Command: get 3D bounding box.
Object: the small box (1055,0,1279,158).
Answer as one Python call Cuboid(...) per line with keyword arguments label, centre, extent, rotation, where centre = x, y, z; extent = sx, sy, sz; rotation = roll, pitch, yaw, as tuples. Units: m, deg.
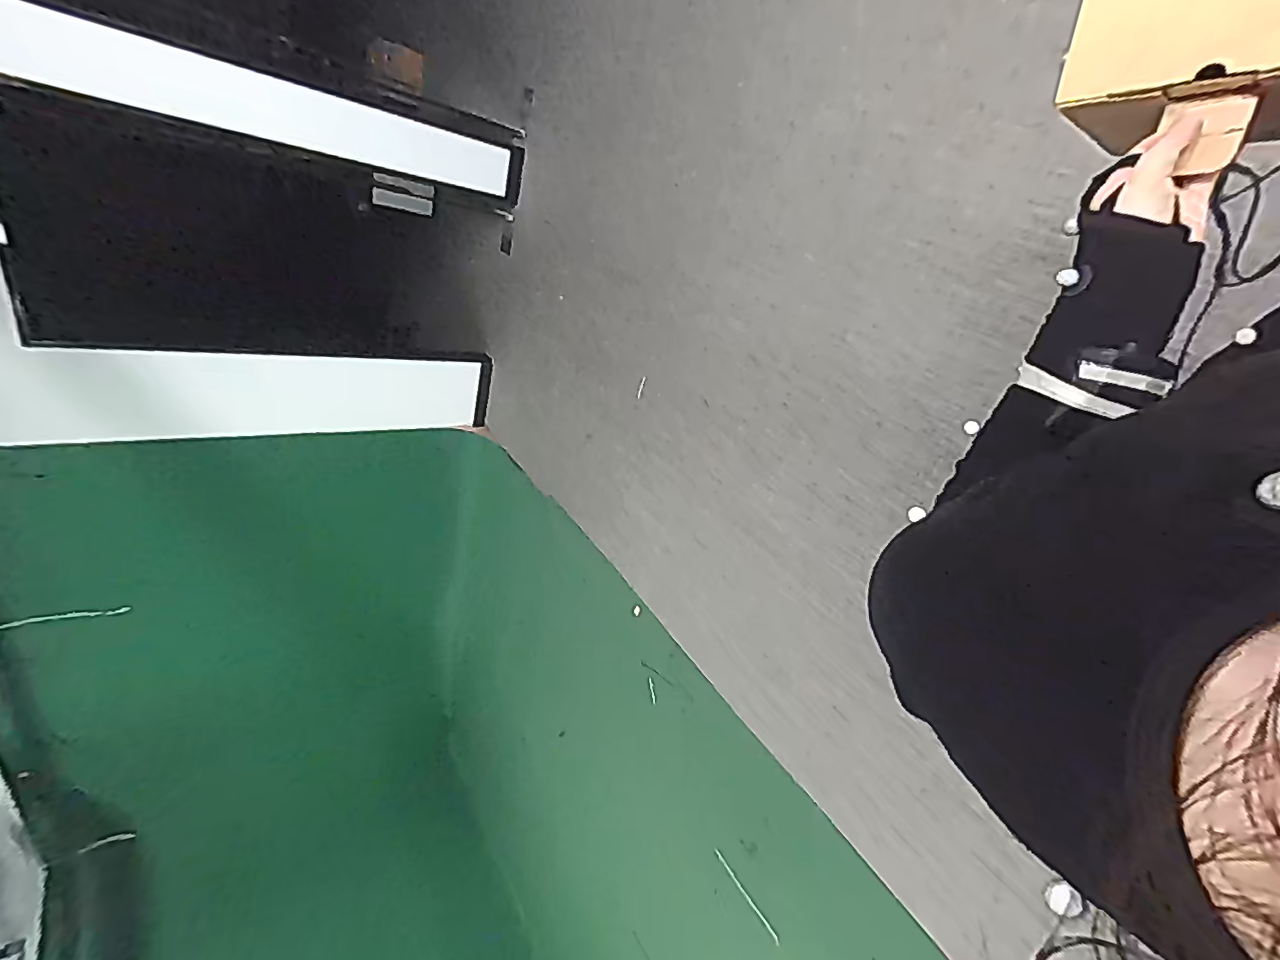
Cuboid(label="small box", centre=(0.431, -0.345, 0.371), extent=(0.168, 0.176, 0.179), rotation=(26, 119, 46))
